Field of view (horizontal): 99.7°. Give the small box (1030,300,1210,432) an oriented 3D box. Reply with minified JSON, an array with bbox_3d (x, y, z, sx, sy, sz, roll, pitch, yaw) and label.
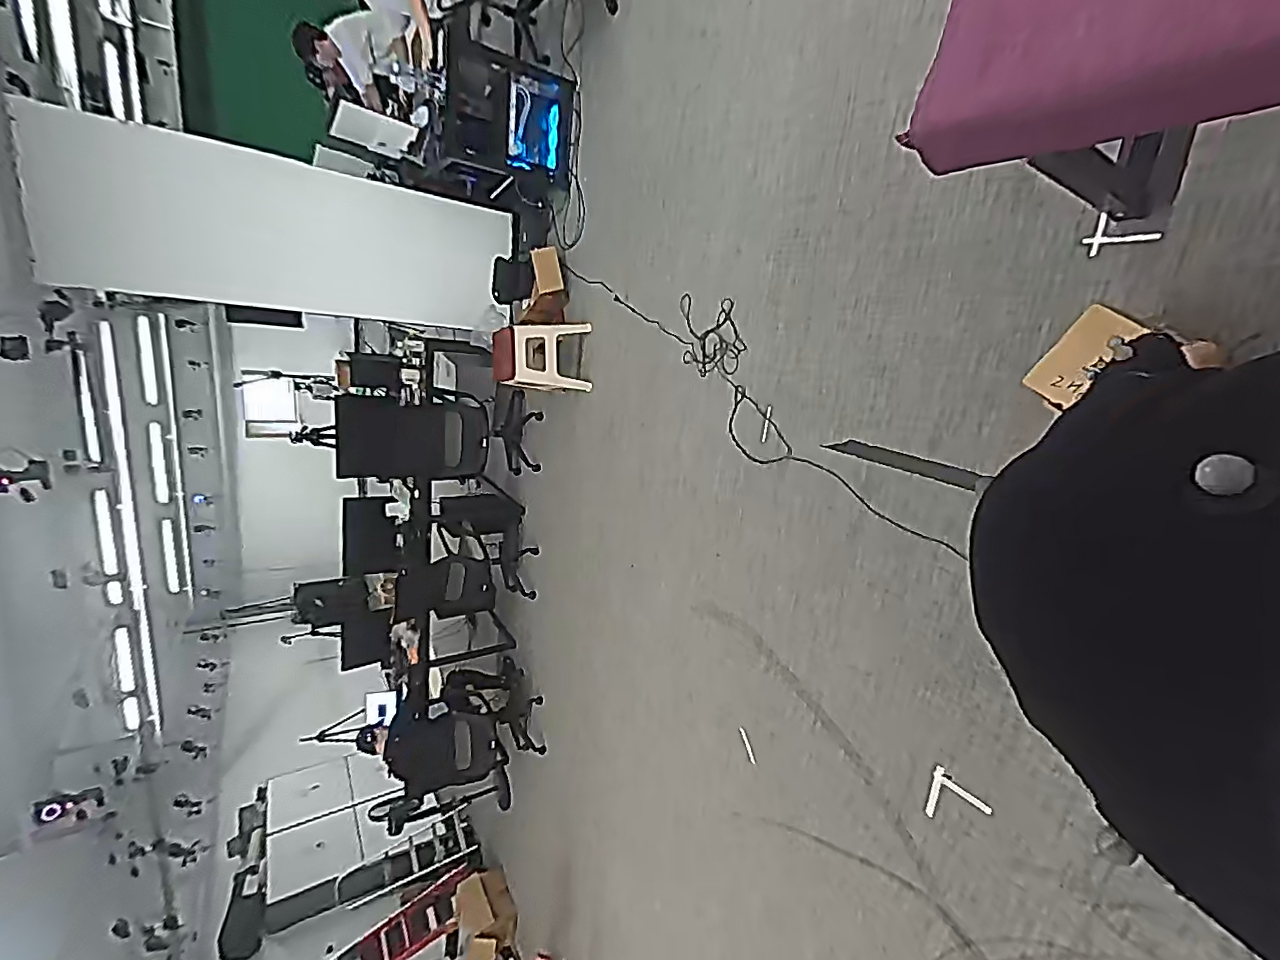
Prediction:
[{"bbox_3d":[0.888,-0.208,1.001,0.168,0.176,0.179,57,138,35],"label":"small box"}]
